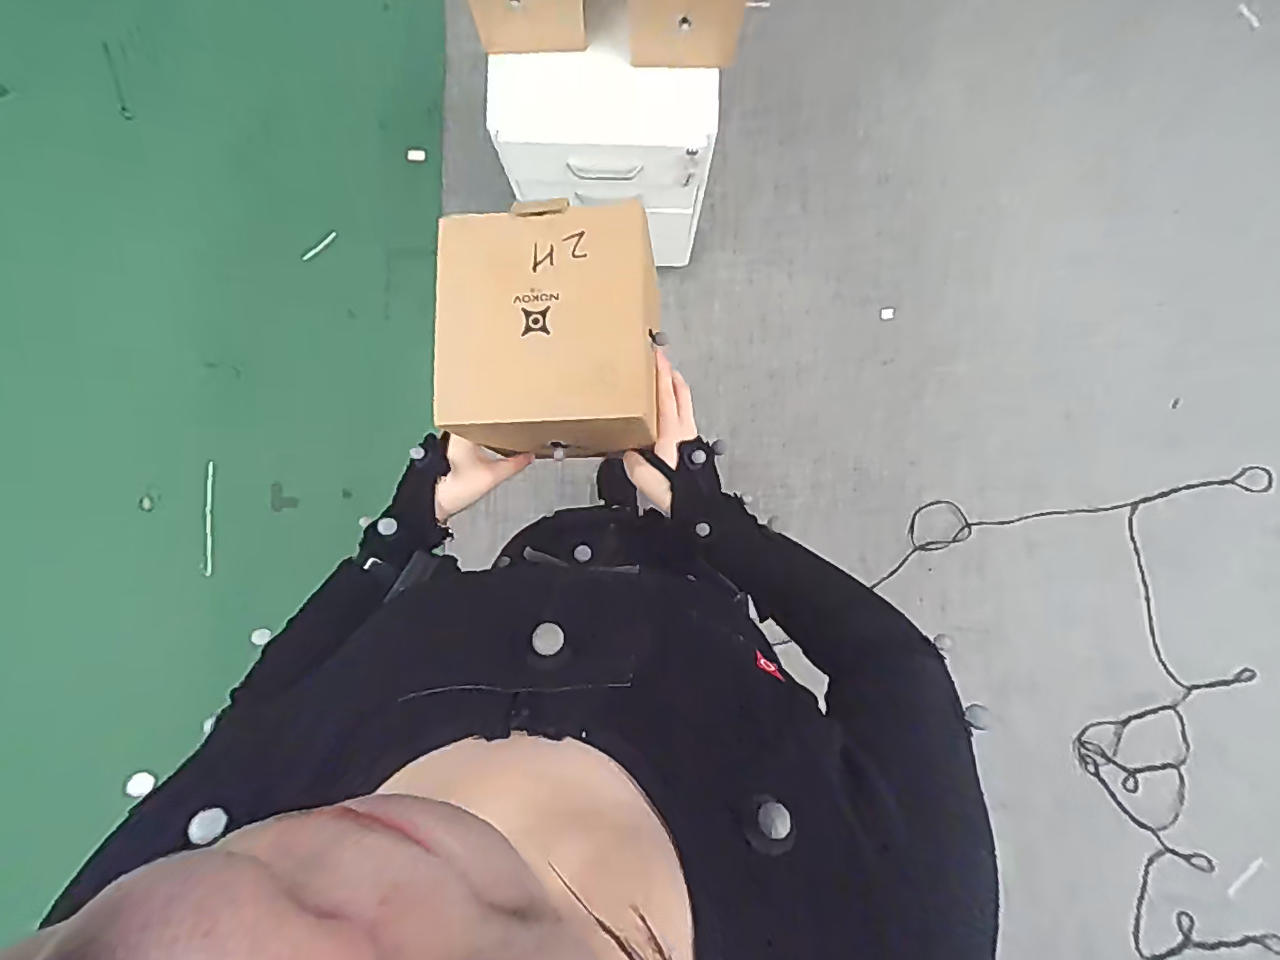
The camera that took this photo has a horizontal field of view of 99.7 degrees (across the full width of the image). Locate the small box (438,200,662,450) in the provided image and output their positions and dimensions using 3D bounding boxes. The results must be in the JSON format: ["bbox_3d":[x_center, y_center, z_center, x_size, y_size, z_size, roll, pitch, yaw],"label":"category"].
[{"bbox_3d":[-0.067,-0.123,0.499,0.168,0.176,0.179,-1,83,6],"label":"small box"}]

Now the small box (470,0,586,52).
[{"bbox_3d":[-0.181,-0.810,0.841,0.179,0.176,0.168,-3,90,-1],"label":"small box"}]
